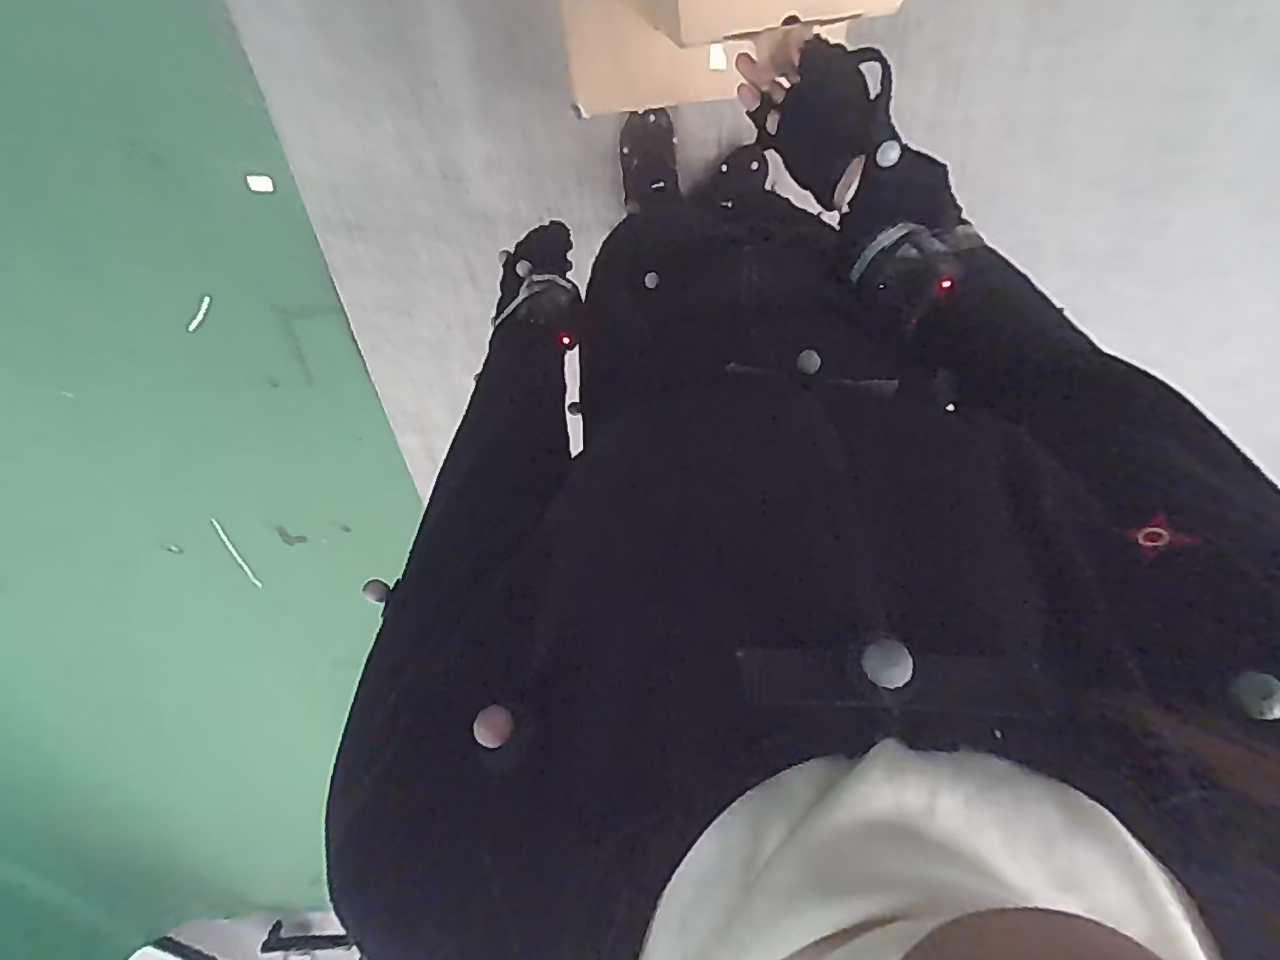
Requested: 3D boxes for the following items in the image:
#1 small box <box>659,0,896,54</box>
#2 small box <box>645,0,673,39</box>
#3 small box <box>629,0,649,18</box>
[{"bbox_3d":[0.095,-0.451,0.406,0.168,0.176,0.179,-8,133,2],"label":"small box"},{"bbox_3d":[0.085,-0.559,0.529,0.168,0.176,0.179,-7,131,1],"label":"small box"},{"bbox_3d":[0.078,-0.662,0.650,0.179,0.176,0.168,0,131,-3],"label":"small box"}]
